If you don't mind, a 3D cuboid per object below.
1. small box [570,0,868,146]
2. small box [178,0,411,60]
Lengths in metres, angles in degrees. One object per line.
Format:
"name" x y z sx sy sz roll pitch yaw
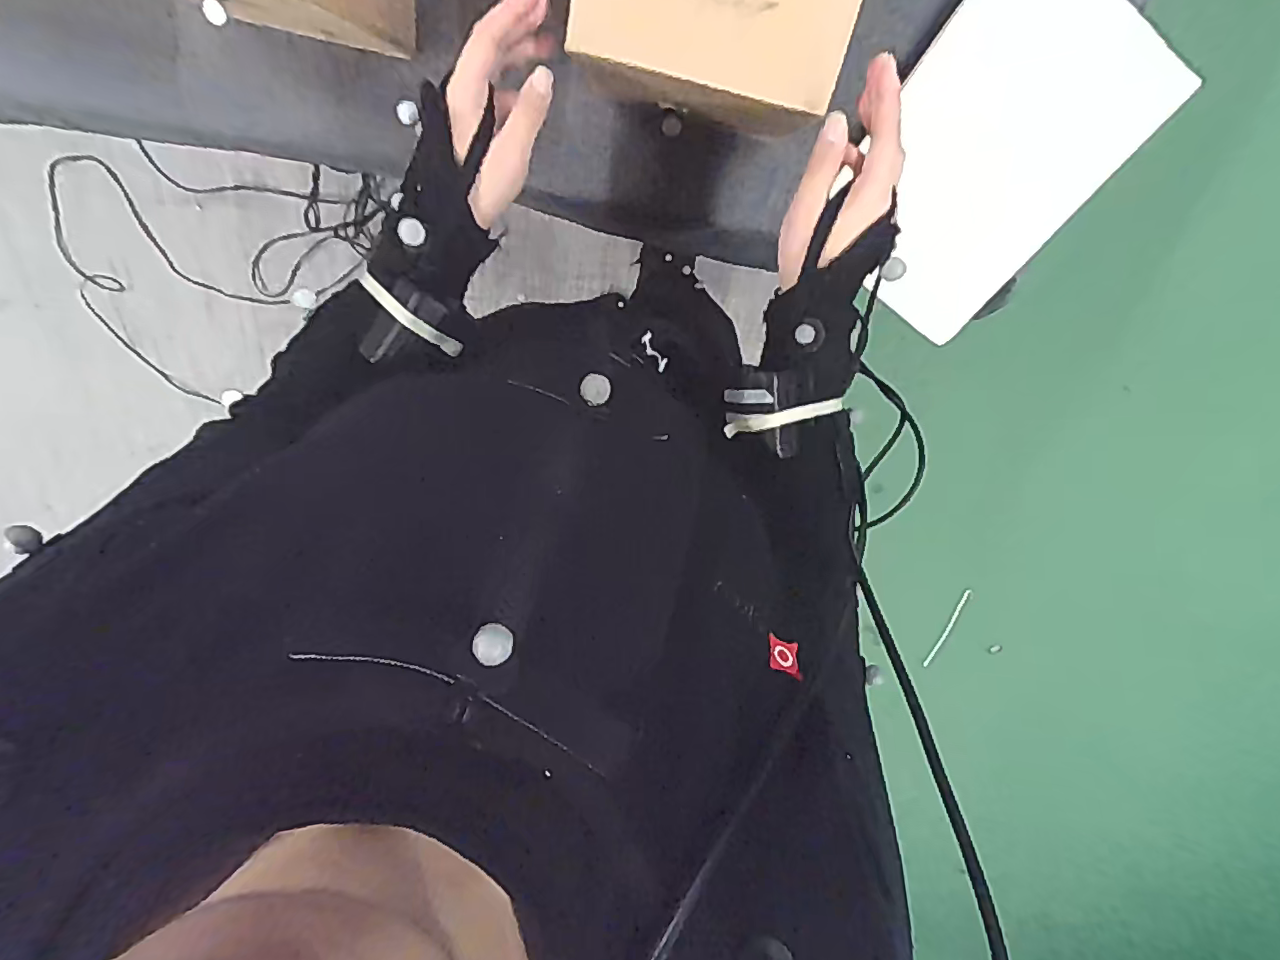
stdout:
"small box" 0.059 -0.346 0.359 0.168 0.176 0.179 13 118 -3
"small box" -0.257 -0.402 0.343 0.168 0.176 0.179 11 116 -3
